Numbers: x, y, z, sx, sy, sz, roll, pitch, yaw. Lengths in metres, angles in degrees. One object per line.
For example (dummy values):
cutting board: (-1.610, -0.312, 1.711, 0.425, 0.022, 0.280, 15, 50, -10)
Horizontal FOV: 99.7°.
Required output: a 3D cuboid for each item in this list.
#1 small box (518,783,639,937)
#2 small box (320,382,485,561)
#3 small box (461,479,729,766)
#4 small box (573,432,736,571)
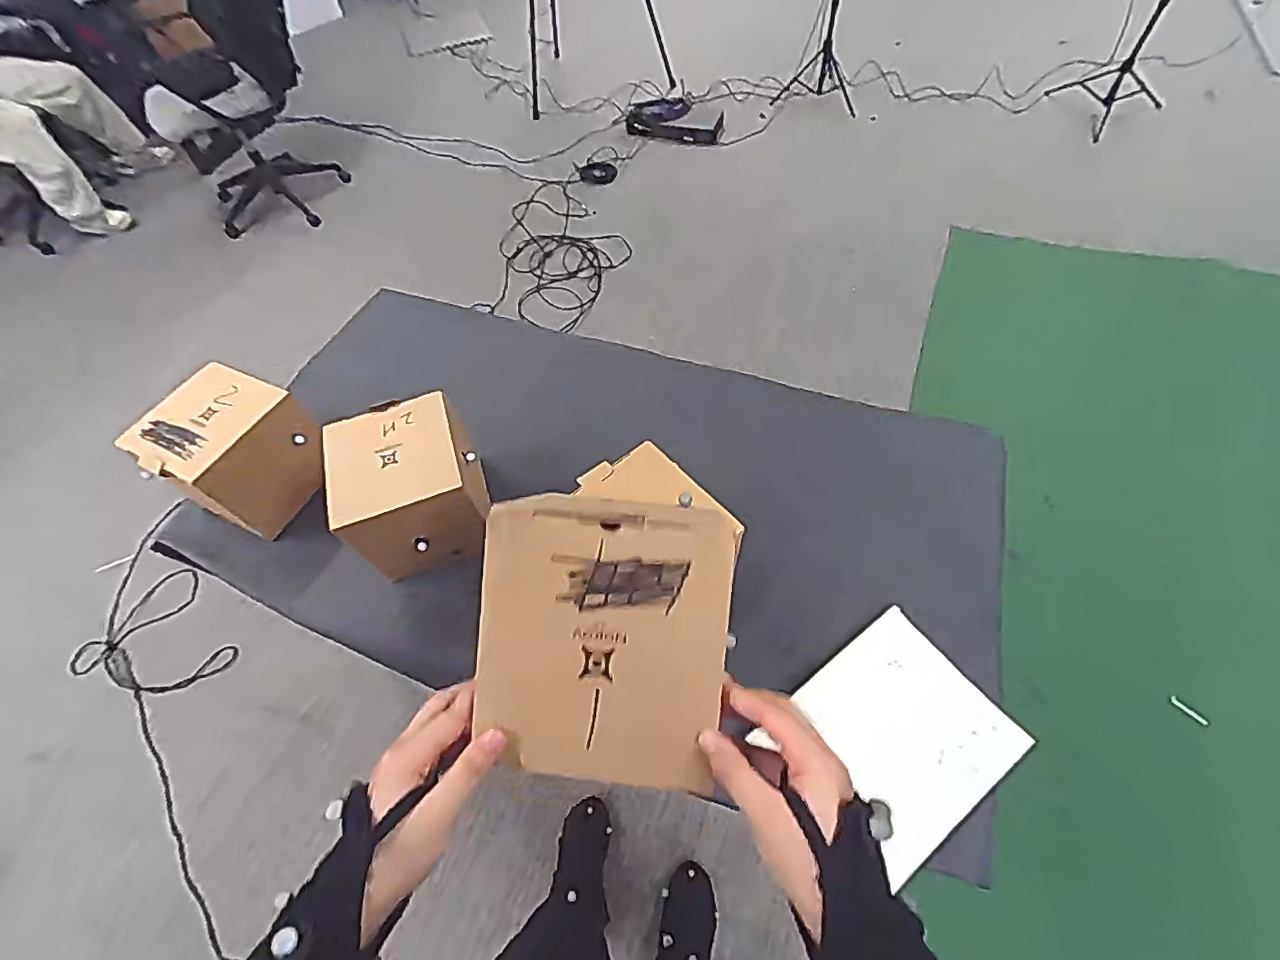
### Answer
small box: (-0.121, 0.769, 1.113, 0.179, 0.168, 0.176, -20, 86, -36)
small box: (-0.325, -0.002, 0.769, 0.168, 0.176, 0.179, -19, 59, -8)
small box: (-0.027, 0.092, 0.437, 0.168, 0.176, 0.179, 6, 92, 3)
small box: (0.001, 0.079, 0.694, 0.168, 0.176, 0.179, -37, 62, -17)
